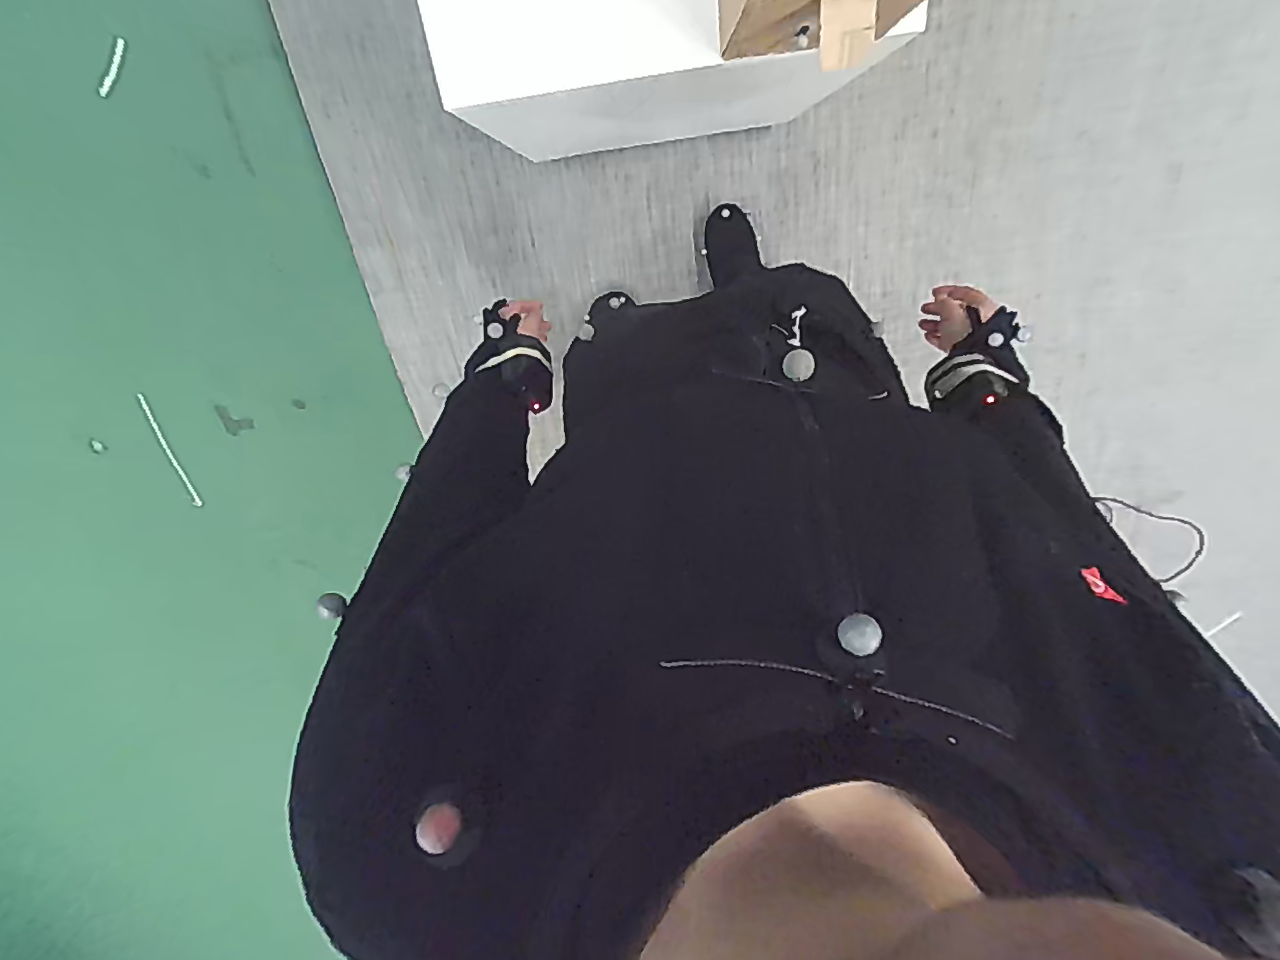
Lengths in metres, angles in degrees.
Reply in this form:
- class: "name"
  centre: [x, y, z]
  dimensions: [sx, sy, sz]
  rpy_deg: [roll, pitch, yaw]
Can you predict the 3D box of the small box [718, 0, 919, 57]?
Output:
- class: "small box"
  centre: [0.154, -0.486, 0.443]
  dimensions: [0.168, 0.176, 0.179]
  rpy_deg: [-6, 115, 3]
